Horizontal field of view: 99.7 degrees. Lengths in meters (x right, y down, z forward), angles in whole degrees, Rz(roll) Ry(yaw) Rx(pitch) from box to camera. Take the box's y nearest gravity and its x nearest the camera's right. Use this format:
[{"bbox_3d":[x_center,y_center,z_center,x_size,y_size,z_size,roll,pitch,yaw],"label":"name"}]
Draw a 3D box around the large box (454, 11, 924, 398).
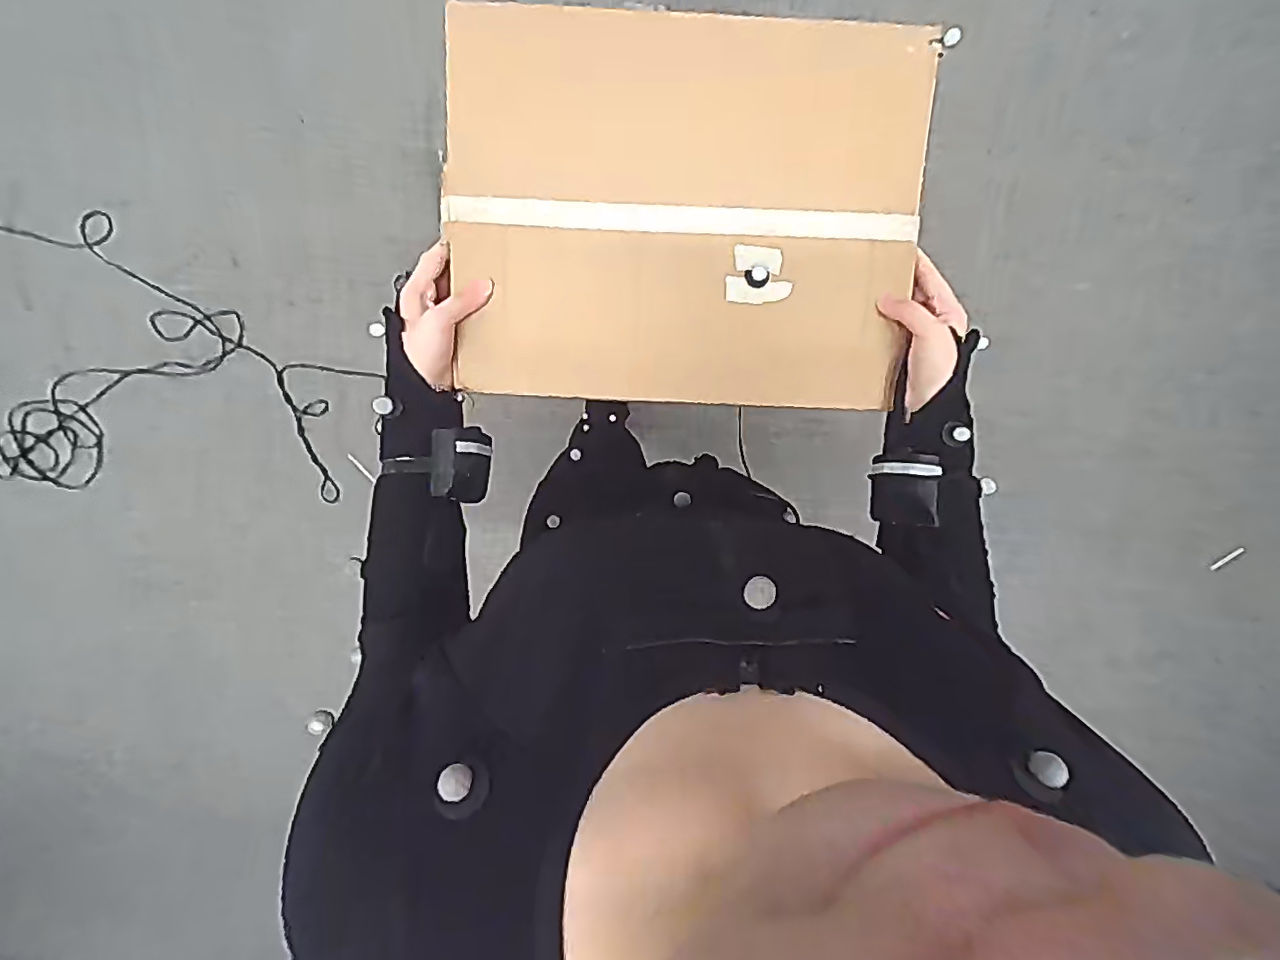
[{"bbox_3d":[0.034,-0.257,0.622,0.408,0.320,0.320,2,100,-2],"label":"large box"}]
